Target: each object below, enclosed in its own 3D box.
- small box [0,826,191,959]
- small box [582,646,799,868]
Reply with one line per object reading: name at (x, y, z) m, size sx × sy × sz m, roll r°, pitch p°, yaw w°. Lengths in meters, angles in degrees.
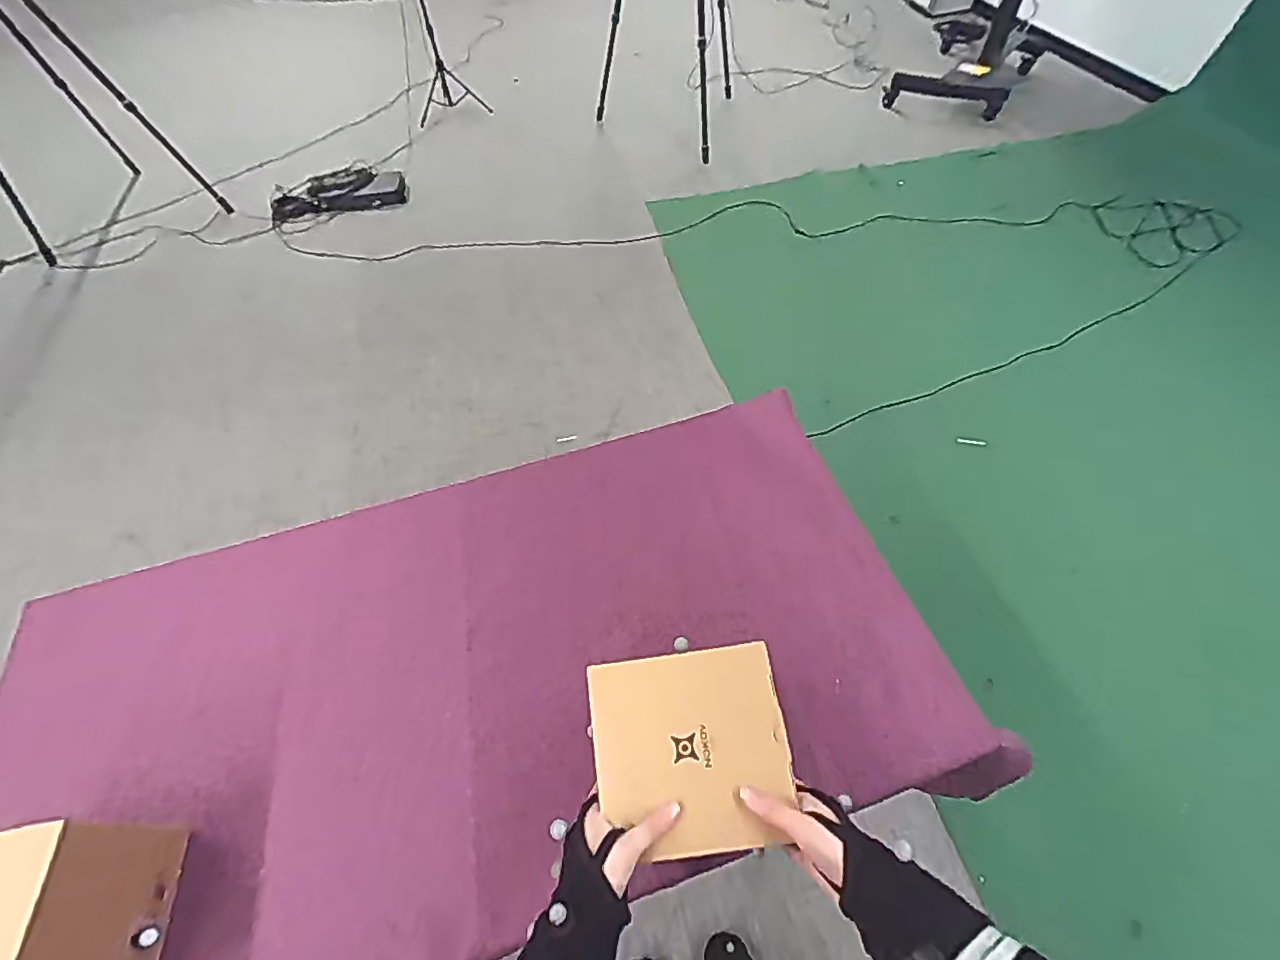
small box at (-0.591, 0.443, 0.511) m, size 0.179 × 0.176 × 0.168 m, roll -10°, pitch 56°, yaw -5°
small box at (0.045, 0.273, 0.558) m, size 0.179 × 0.176 × 0.168 m, roll -8°, pitch 68°, yaw 0°
